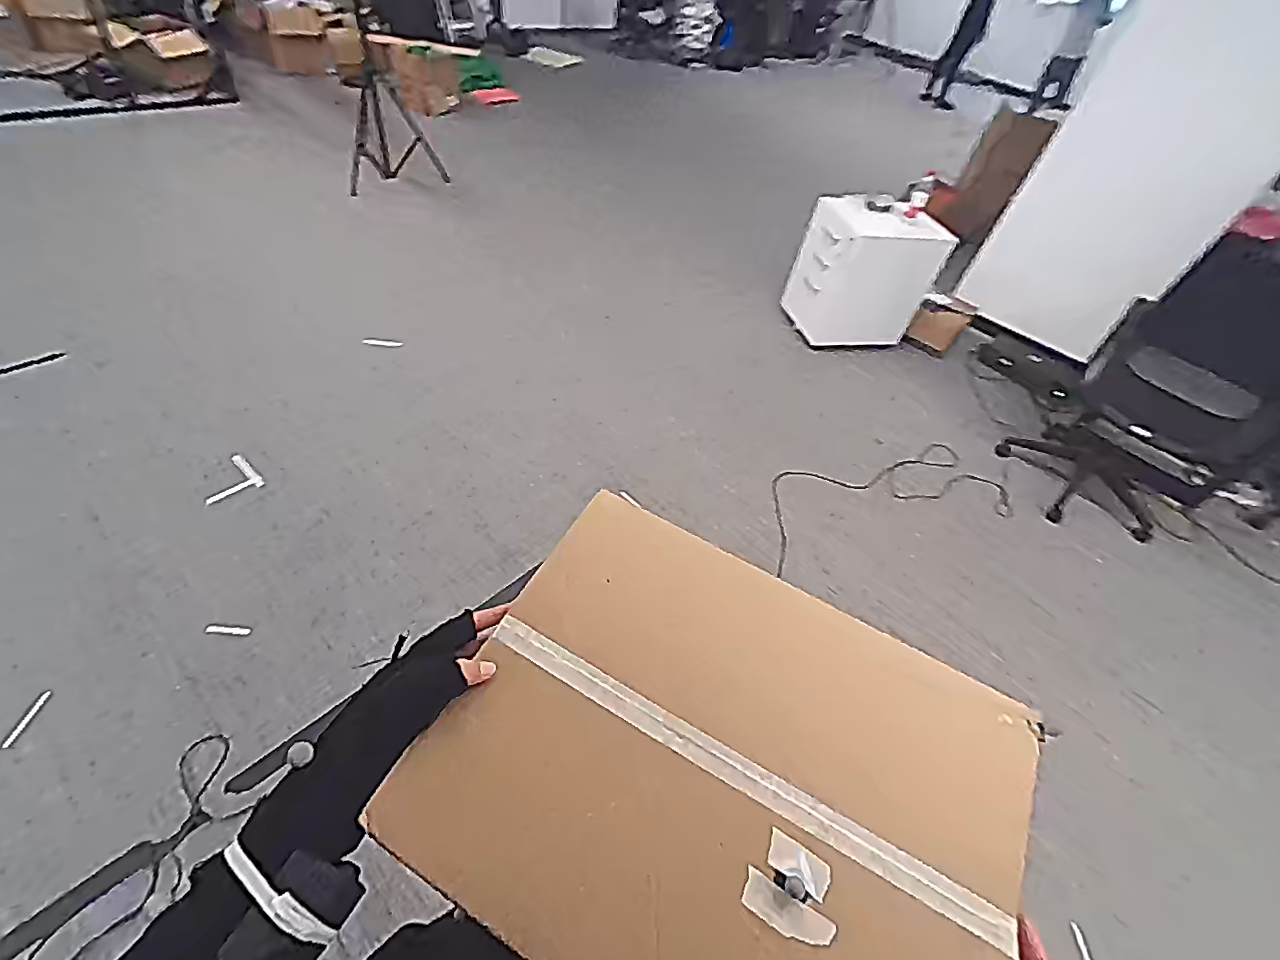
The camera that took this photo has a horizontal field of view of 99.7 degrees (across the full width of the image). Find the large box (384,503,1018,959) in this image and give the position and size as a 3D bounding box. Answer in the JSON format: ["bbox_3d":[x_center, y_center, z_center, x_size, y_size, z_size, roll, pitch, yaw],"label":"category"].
[{"bbox_3d":[0.054,0.293,0.530,0.408,0.320,0.320,27,59,13],"label":"large box"}]
